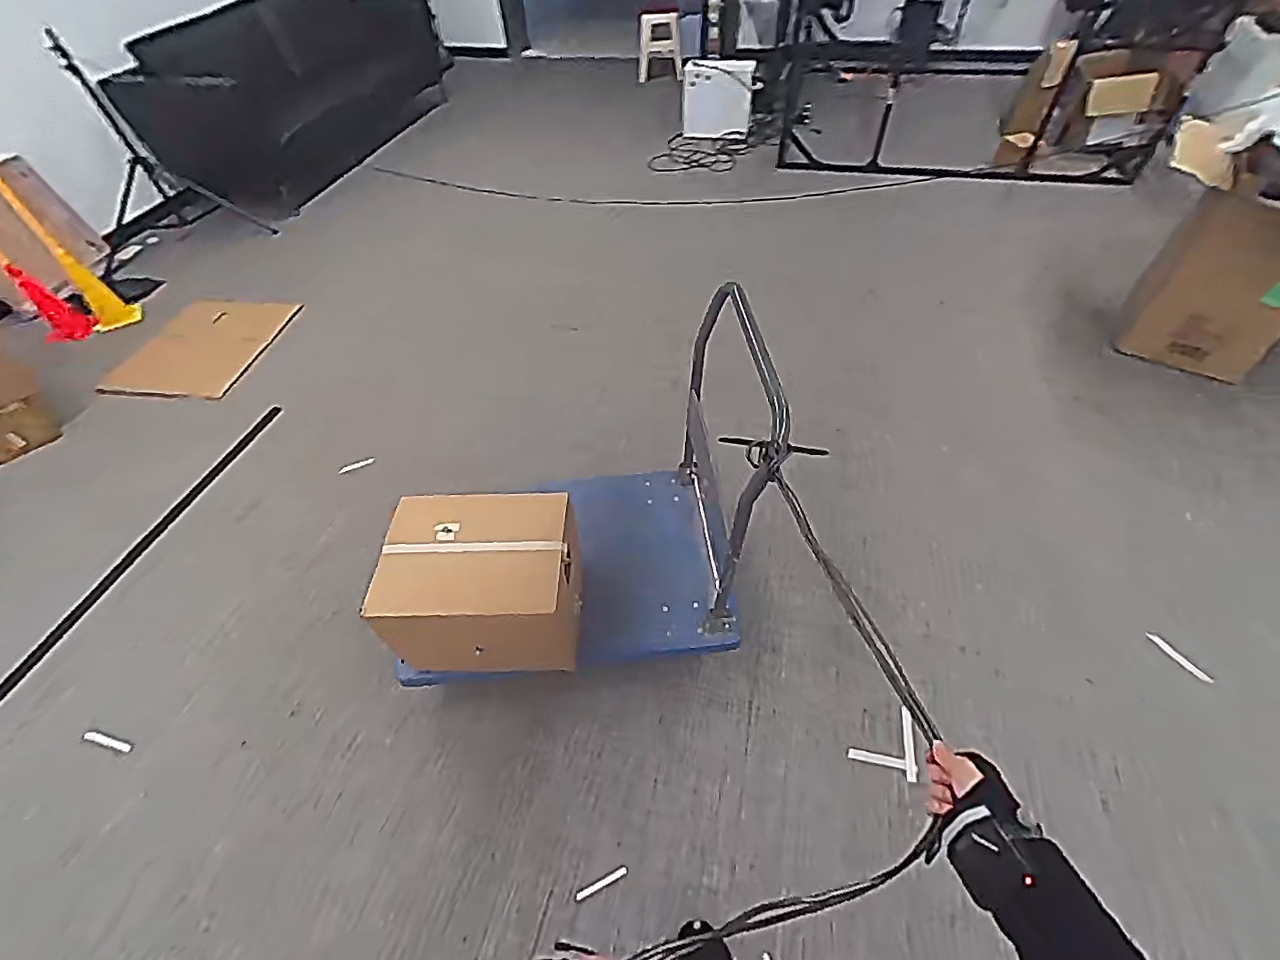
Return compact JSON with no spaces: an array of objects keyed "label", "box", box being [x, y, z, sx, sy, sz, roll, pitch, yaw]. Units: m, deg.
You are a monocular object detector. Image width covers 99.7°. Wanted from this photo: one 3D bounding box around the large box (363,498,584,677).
[{"label":"large box","box":[-0.355,0.263,1.291,0.408,0.320,0.320,-2,49,2]}]
